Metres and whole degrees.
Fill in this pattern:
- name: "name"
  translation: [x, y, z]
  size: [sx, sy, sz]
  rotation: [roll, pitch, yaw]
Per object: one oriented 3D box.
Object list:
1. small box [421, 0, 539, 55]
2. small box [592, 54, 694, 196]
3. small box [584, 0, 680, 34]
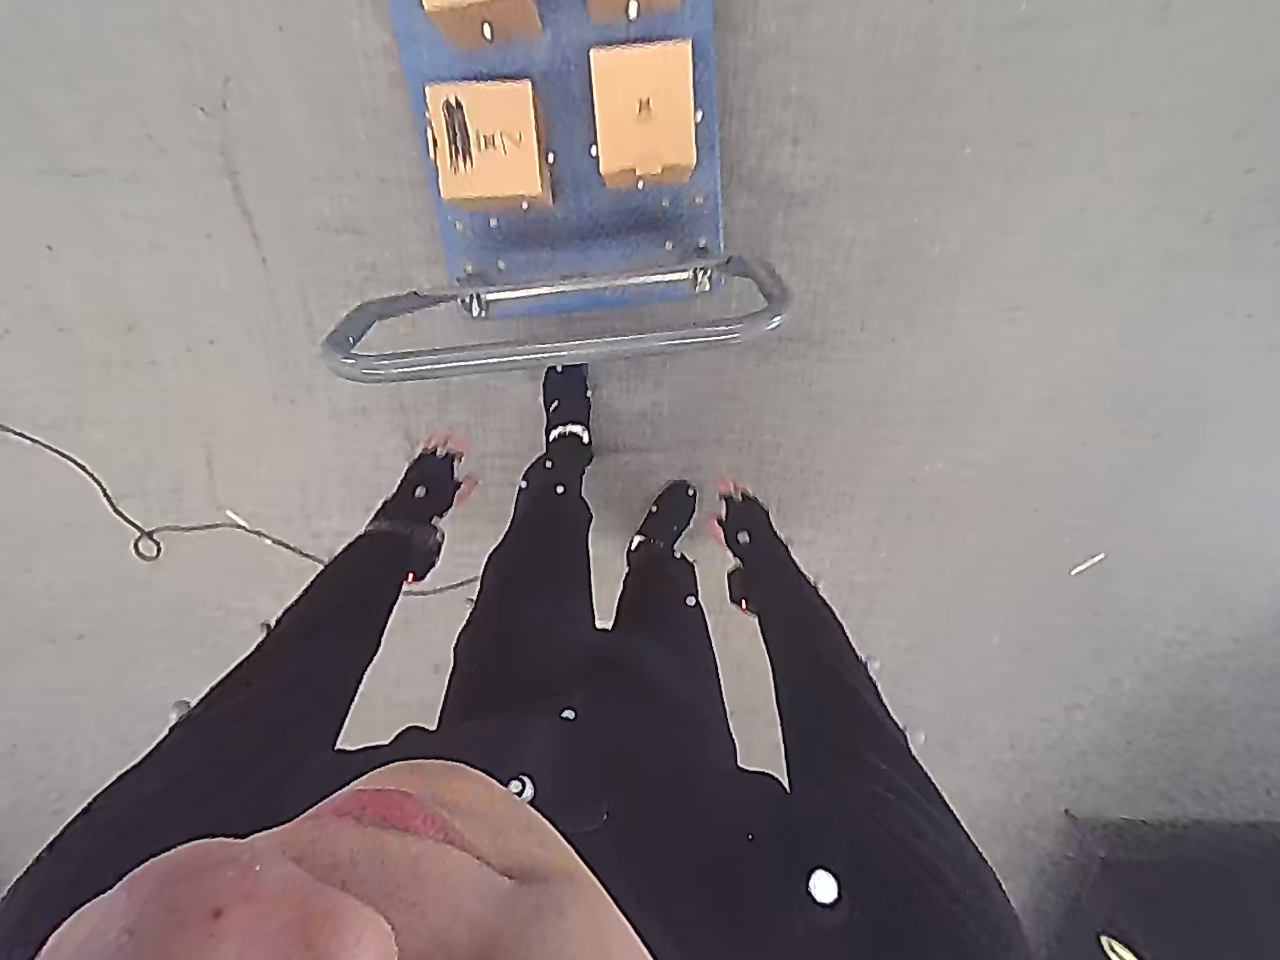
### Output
- name: "small box"
  translation: [-0.272, -0.840, 0.895]
  size: [0.168, 0.176, 0.179]
  rotation: [-9, 110, 1]
- name: "small box"
  translation: [0.004, -0.629, 0.978]
  size: [0.168, 0.176, 0.179]
  rotation: [-5, 110, 1]
- name: "small box"
  translation: [-0.023, -0.881, 0.884]
  size: [0.168, 0.176, 0.179]
  rotation: [-9, 111, 3]
